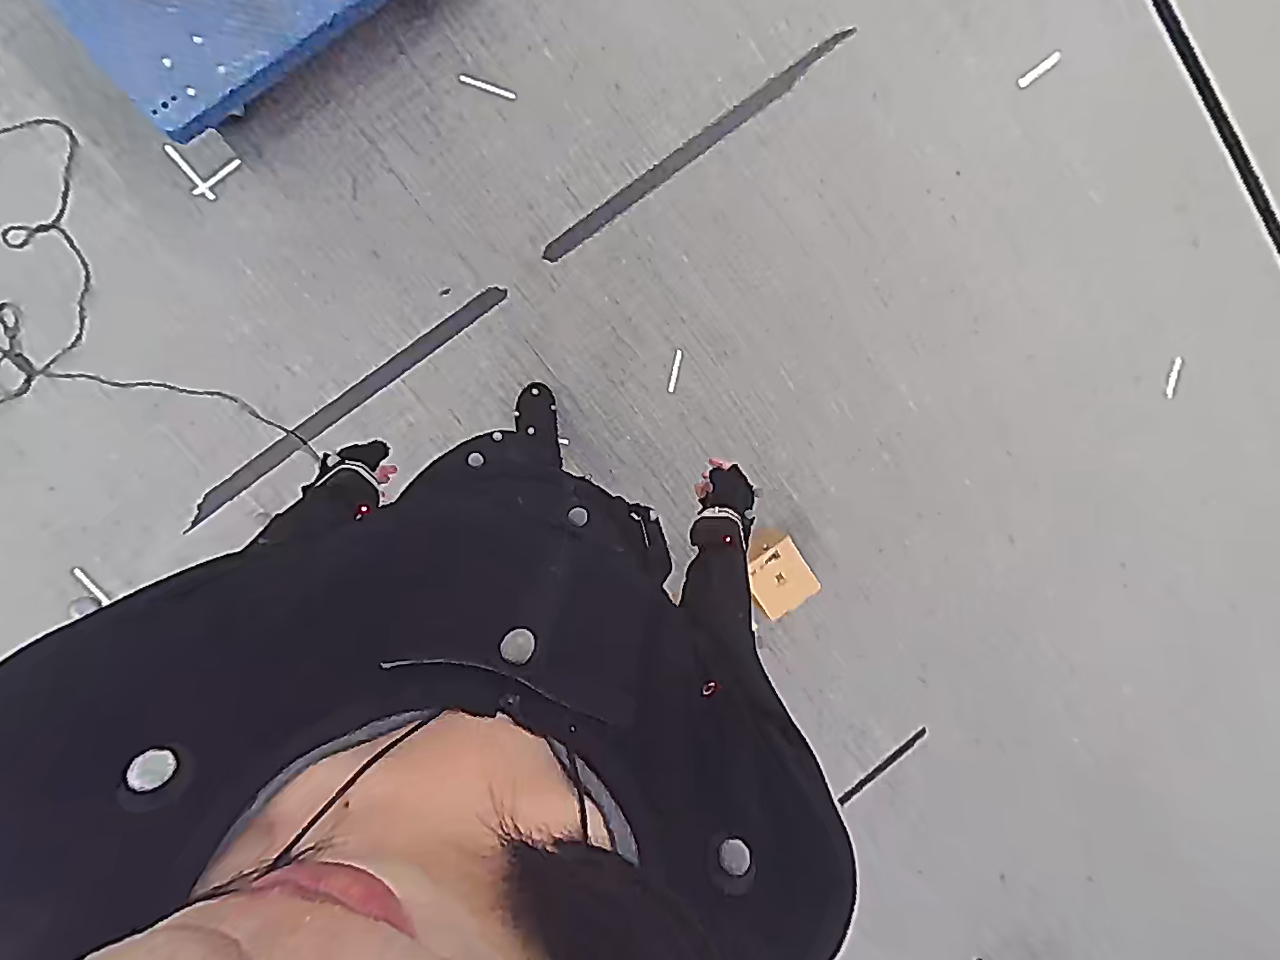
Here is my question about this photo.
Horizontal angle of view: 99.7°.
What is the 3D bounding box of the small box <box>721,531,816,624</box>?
[{"bbox_3d":[0.355,0.266,1.522,0.168,0.176,0.179,-34,99,-4],"label":"small box"}]
